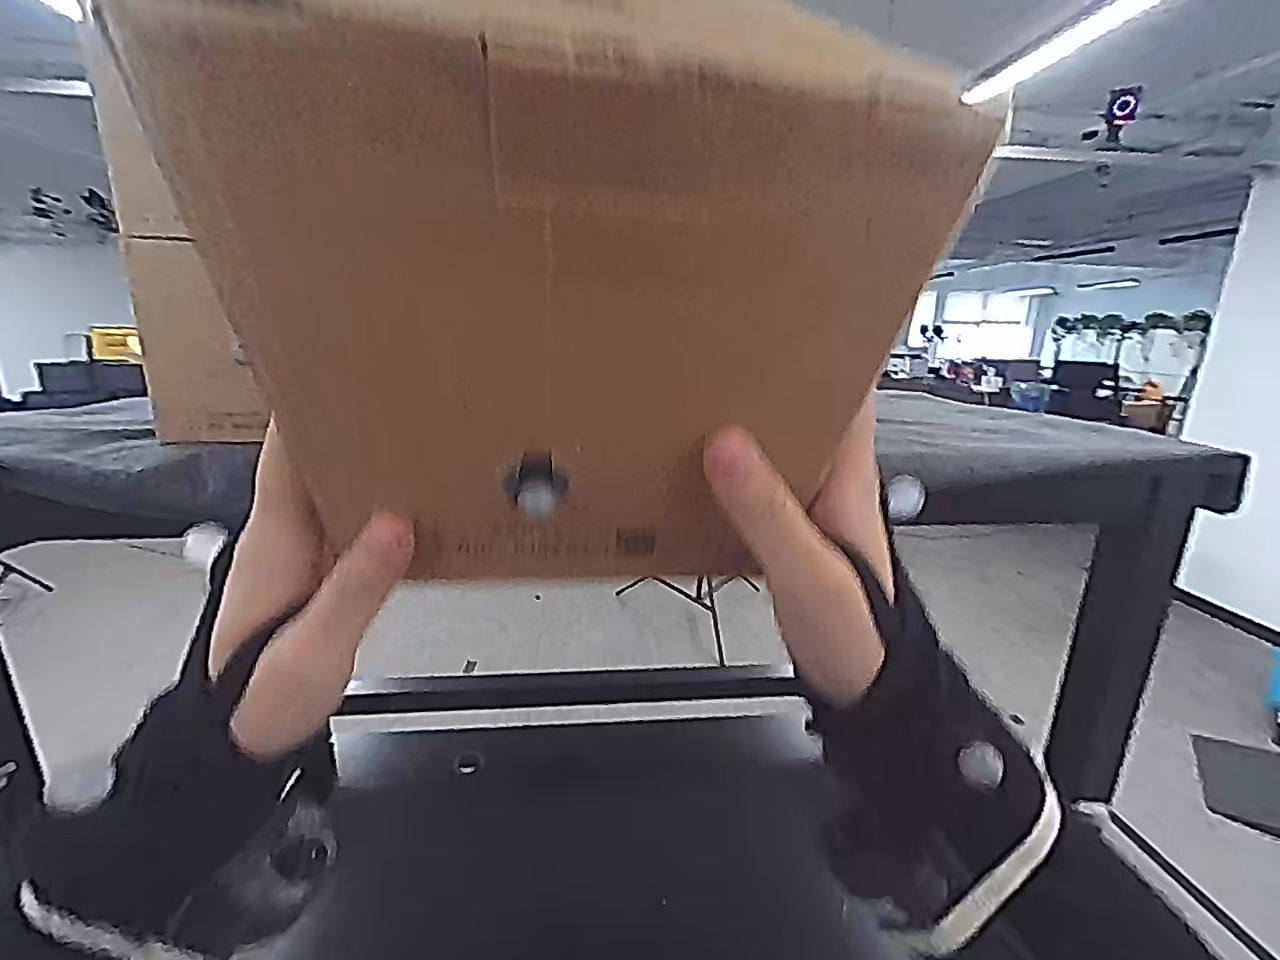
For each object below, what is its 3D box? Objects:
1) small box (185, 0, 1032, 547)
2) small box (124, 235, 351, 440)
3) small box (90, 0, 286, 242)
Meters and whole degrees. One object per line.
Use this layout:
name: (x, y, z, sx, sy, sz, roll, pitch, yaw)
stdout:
small box: (-0.019, -0.094, 0.209, 0.168, 0.176, 0.179, 0, 47, -9)
small box: (-0.338, -0.134, 0.534, 0.168, 0.176, 0.179, -1, 14, -10)
small box: (-0.334, -0.295, 0.497, 0.168, 0.176, 0.179, -2, 14, -9)
